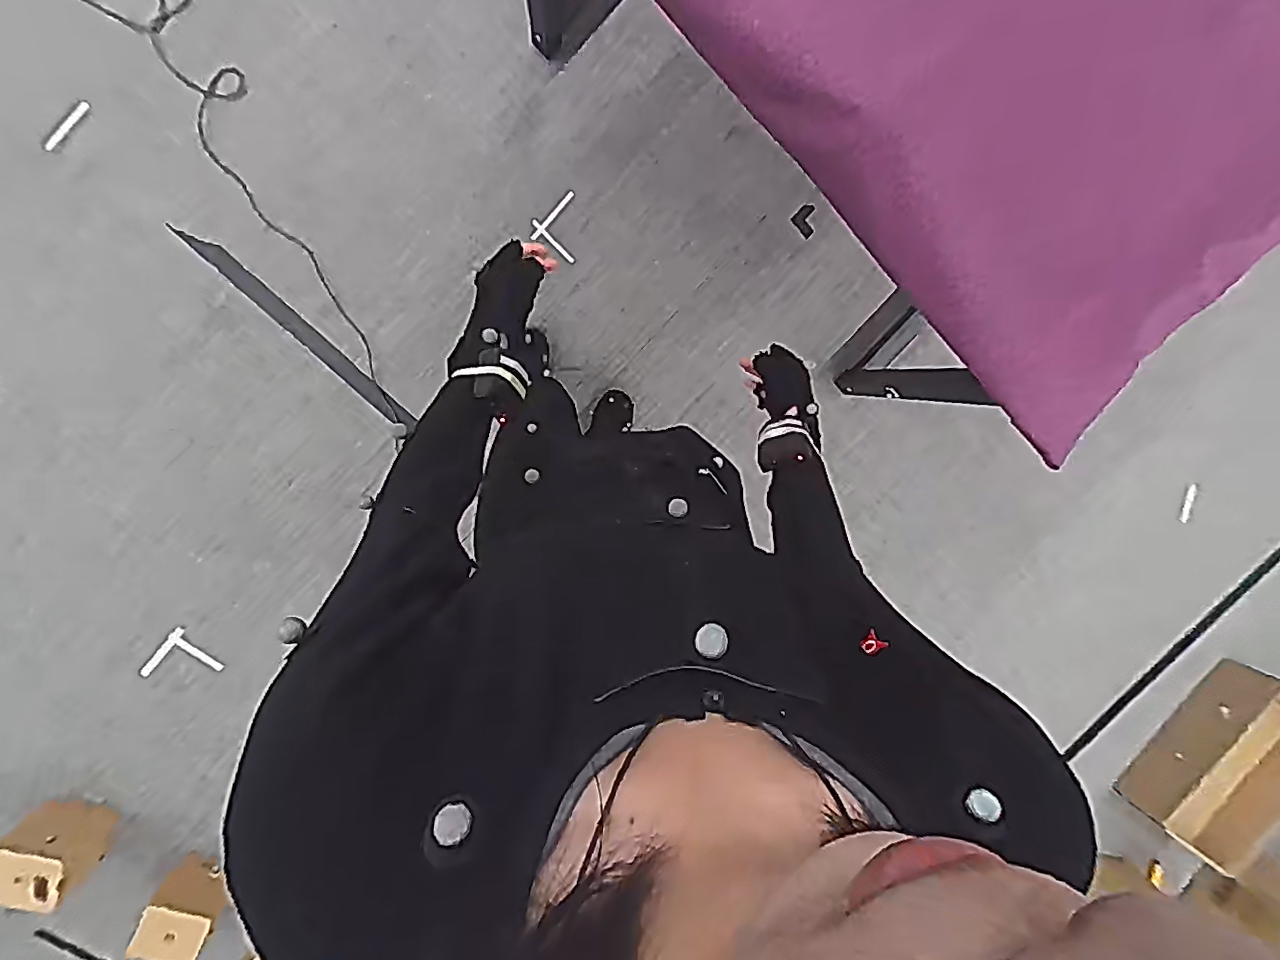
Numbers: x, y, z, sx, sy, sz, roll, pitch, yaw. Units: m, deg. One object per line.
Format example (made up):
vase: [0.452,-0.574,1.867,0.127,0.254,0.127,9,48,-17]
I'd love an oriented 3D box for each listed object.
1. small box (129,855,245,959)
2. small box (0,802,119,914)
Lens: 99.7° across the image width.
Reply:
small box: [-1.256,1.208,1.515,0.168,0.176,0.179,24,96,-12]
small box: [-1.556,0.998,1.438,0.179,0.176,0.168,18,98,-9]
